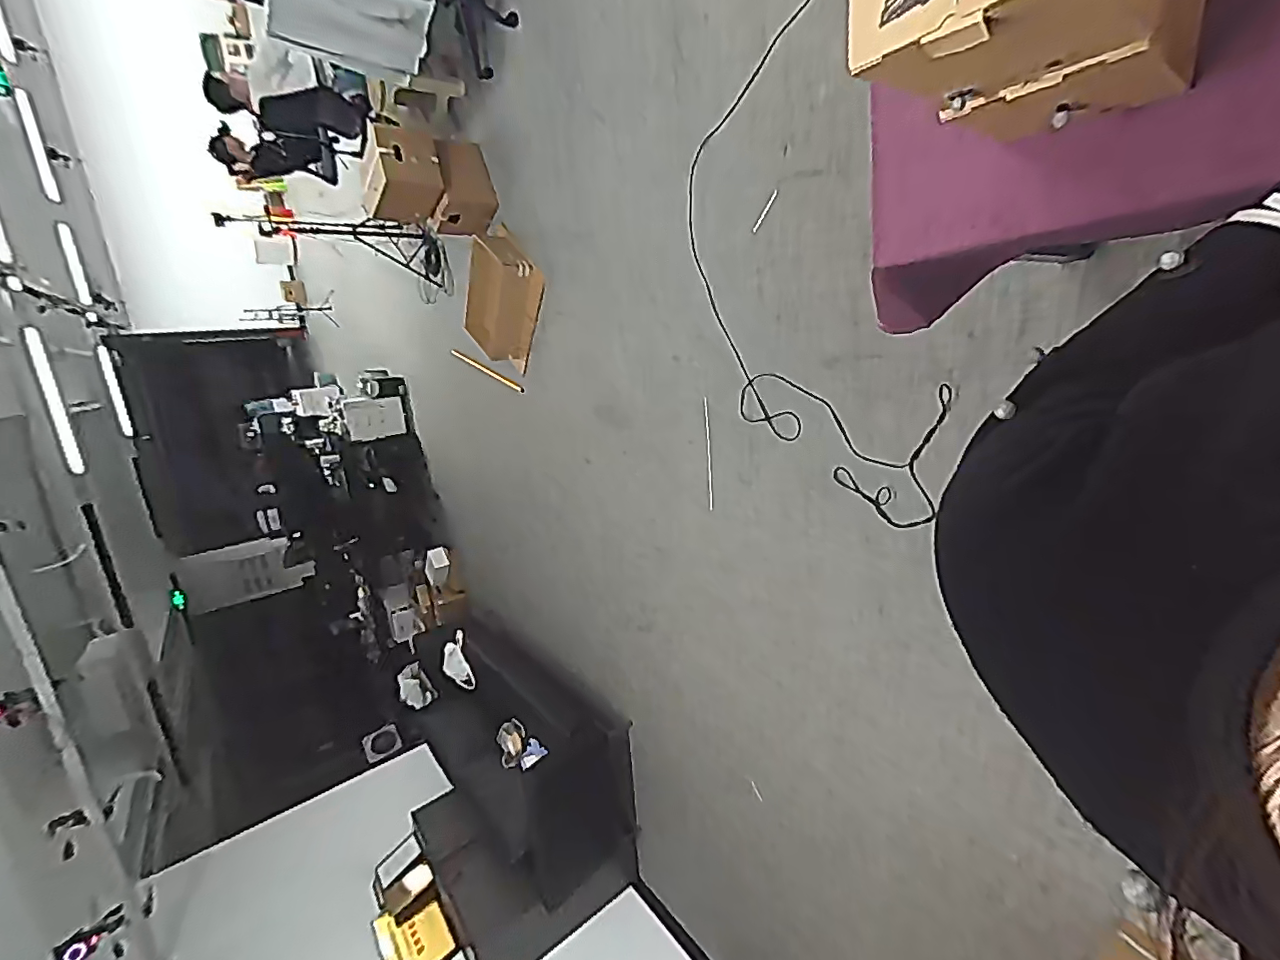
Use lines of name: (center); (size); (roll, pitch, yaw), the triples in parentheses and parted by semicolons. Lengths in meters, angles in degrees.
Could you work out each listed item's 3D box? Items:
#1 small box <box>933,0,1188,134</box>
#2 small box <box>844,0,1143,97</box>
small box: (0.411, -0.462, 0.527); (0.168, 0.176, 0.179); (13, 113, 49)
small box: (0.284, -0.433, 0.426); (0.168, 0.176, 0.179); (15, 113, 49)
